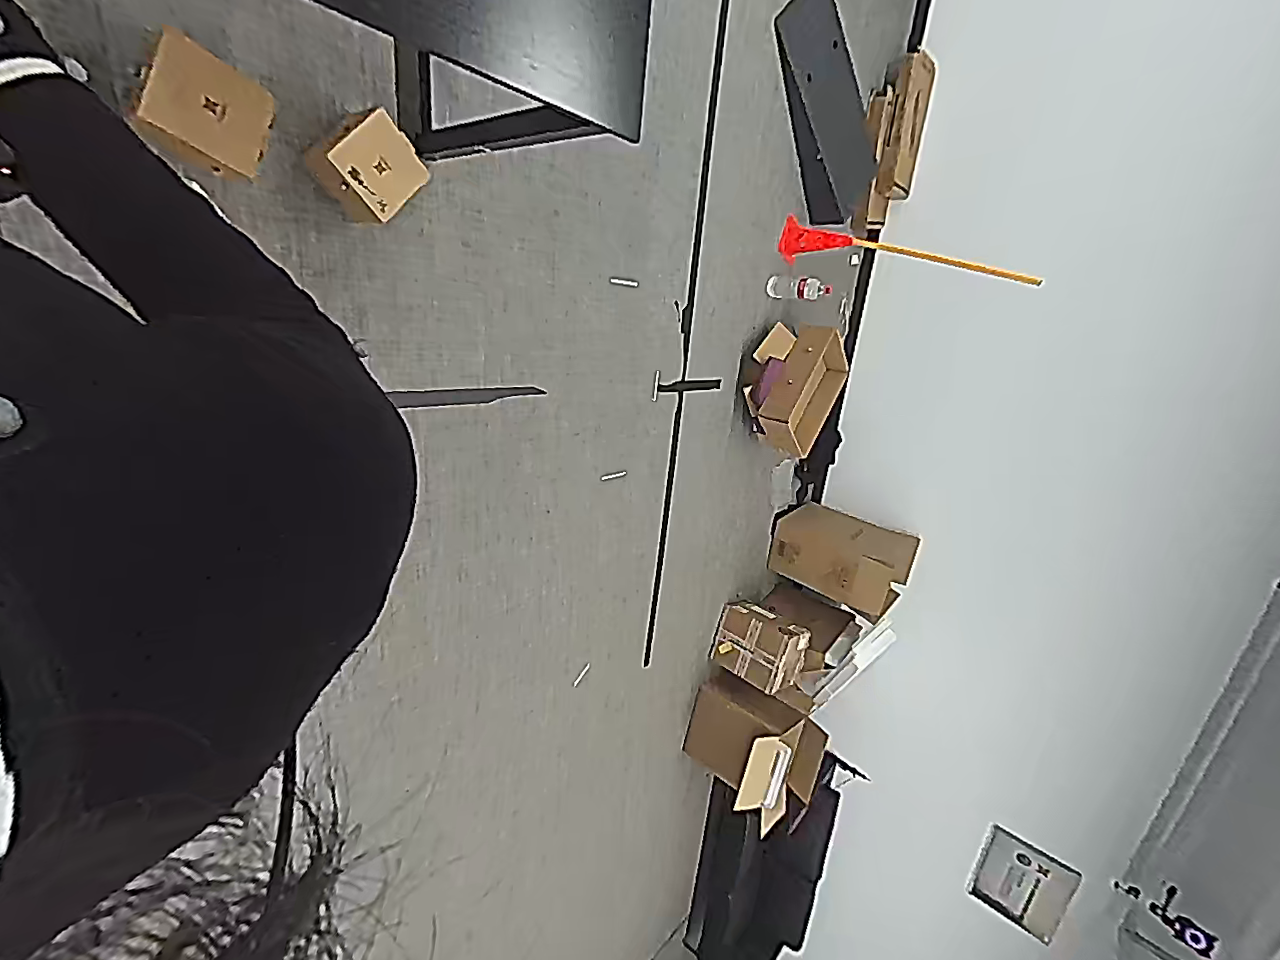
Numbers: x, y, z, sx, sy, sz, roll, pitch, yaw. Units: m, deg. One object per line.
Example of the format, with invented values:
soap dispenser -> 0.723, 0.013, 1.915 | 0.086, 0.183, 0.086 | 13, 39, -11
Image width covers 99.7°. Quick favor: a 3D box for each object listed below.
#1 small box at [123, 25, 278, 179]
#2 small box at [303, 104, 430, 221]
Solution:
small box -> -0.834, -0.701, 1.027 | 0.179, 0.176, 0.168 | 17, 92, -52
small box -> -0.636, -0.730, 1.254 | 0.179, 0.176, 0.168 | -57, 141, -16
